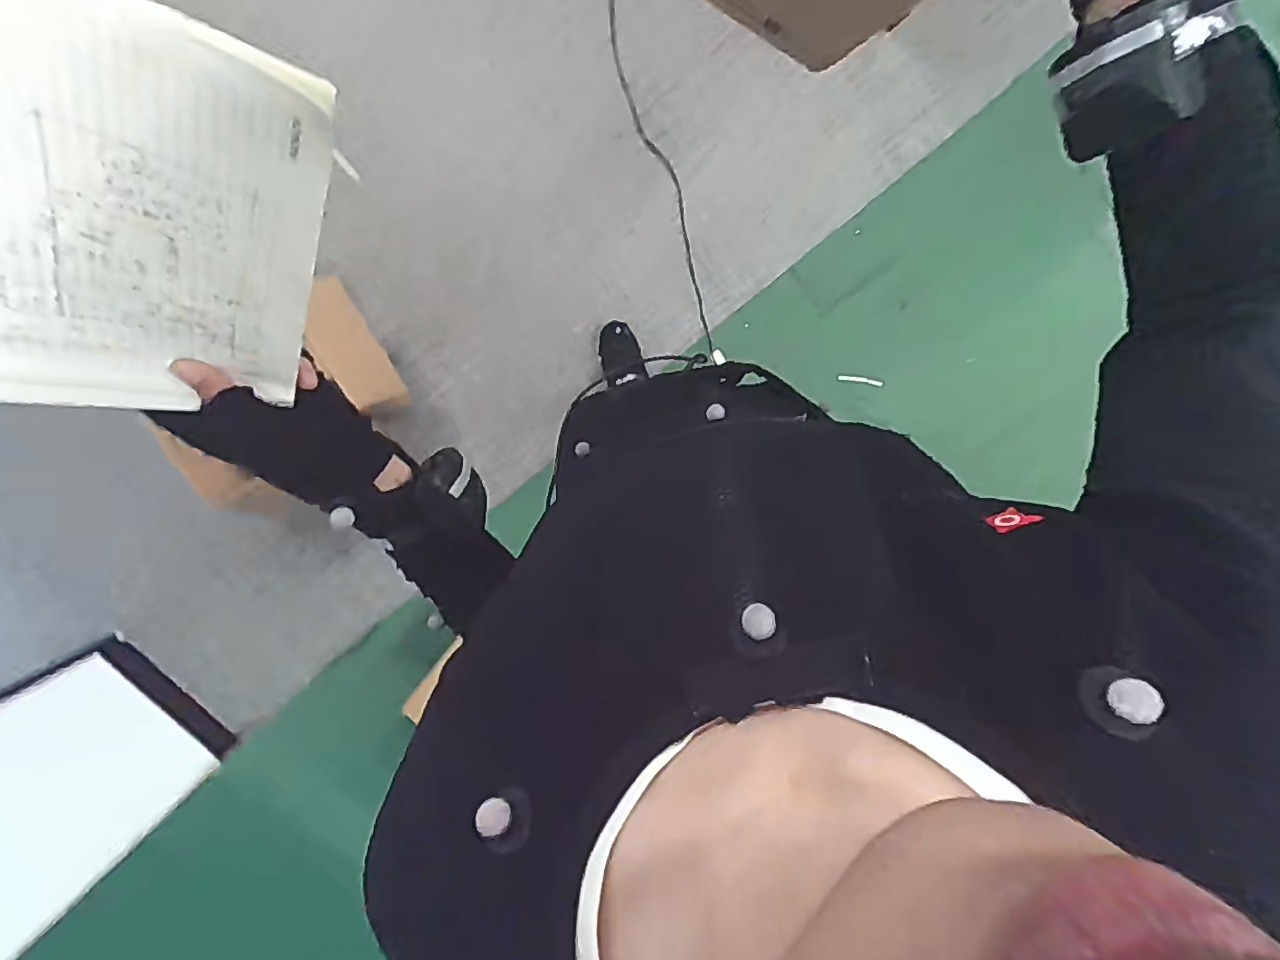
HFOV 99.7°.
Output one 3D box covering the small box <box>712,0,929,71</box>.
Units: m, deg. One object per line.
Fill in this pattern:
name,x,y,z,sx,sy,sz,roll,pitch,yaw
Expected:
small box,0.137,-0.425,0.348,0.168,0.176,0.179,20,102,-19
